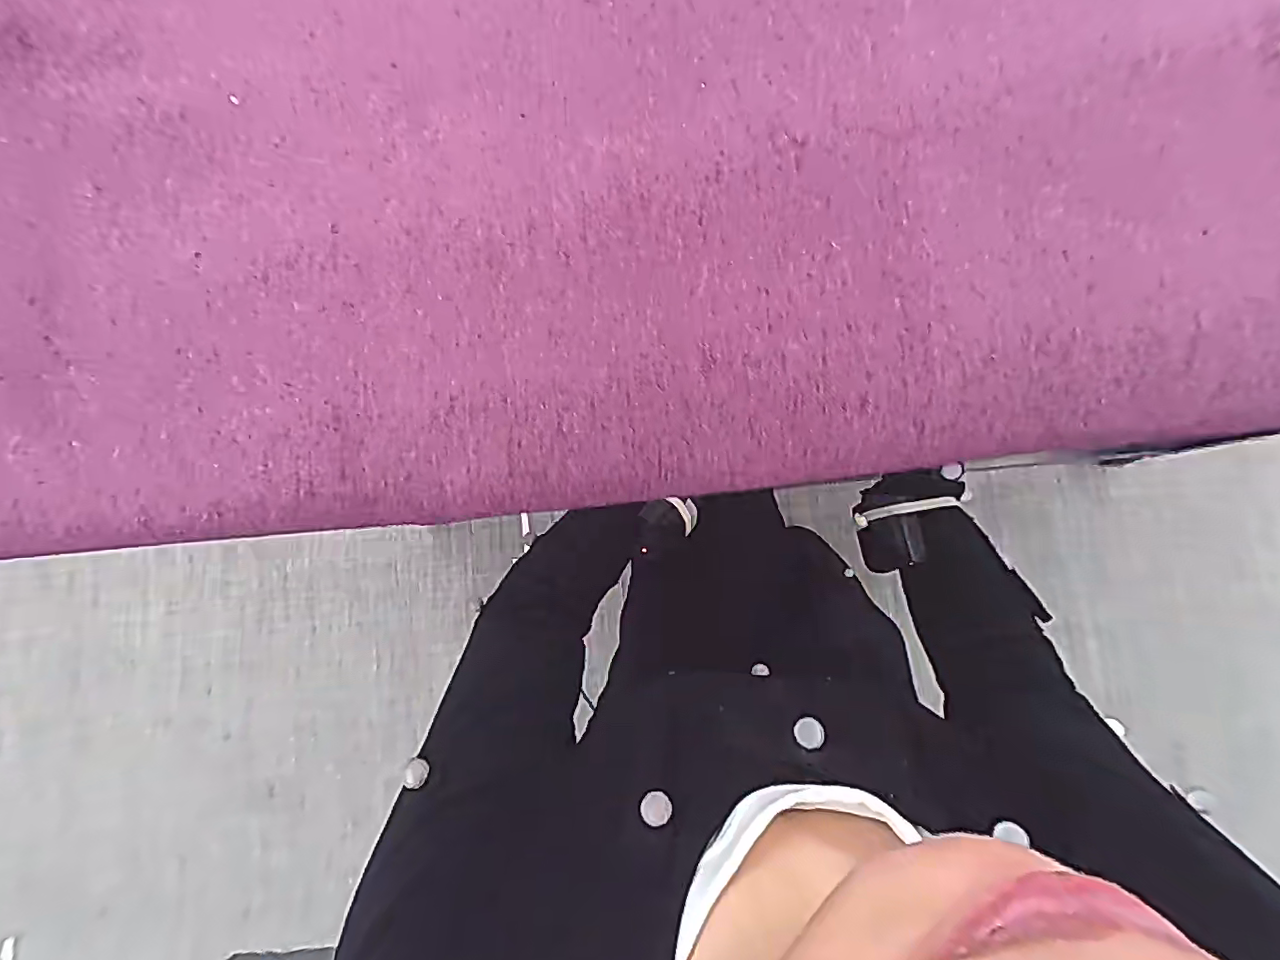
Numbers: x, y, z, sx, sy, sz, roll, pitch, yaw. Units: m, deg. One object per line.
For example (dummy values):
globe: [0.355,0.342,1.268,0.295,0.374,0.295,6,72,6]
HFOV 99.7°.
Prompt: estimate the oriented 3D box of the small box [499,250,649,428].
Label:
small box: [-0.081,-0.180,0.736,0.168,0.176,0.179,-9,85,1]
